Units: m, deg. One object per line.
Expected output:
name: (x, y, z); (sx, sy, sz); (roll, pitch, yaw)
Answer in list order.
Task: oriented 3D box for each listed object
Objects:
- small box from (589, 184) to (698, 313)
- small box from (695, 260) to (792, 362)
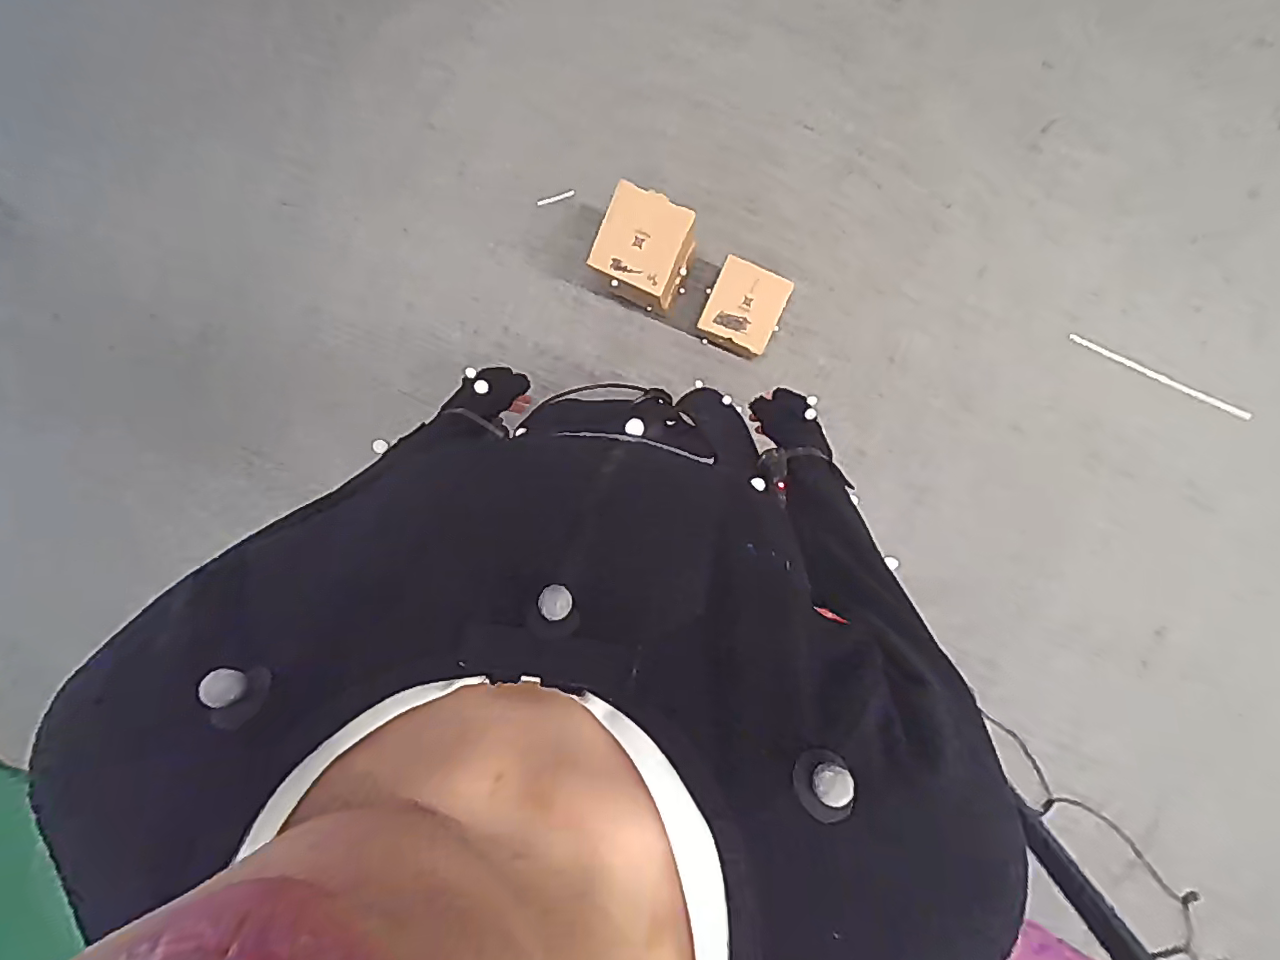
small box: (0.009, -0.480, 1.150); (0.168, 0.176, 0.179); (25, 99, 0)
small box: (0.243, -0.398, 1.308); (0.168, 0.176, 0.179); (24, 99, 0)
